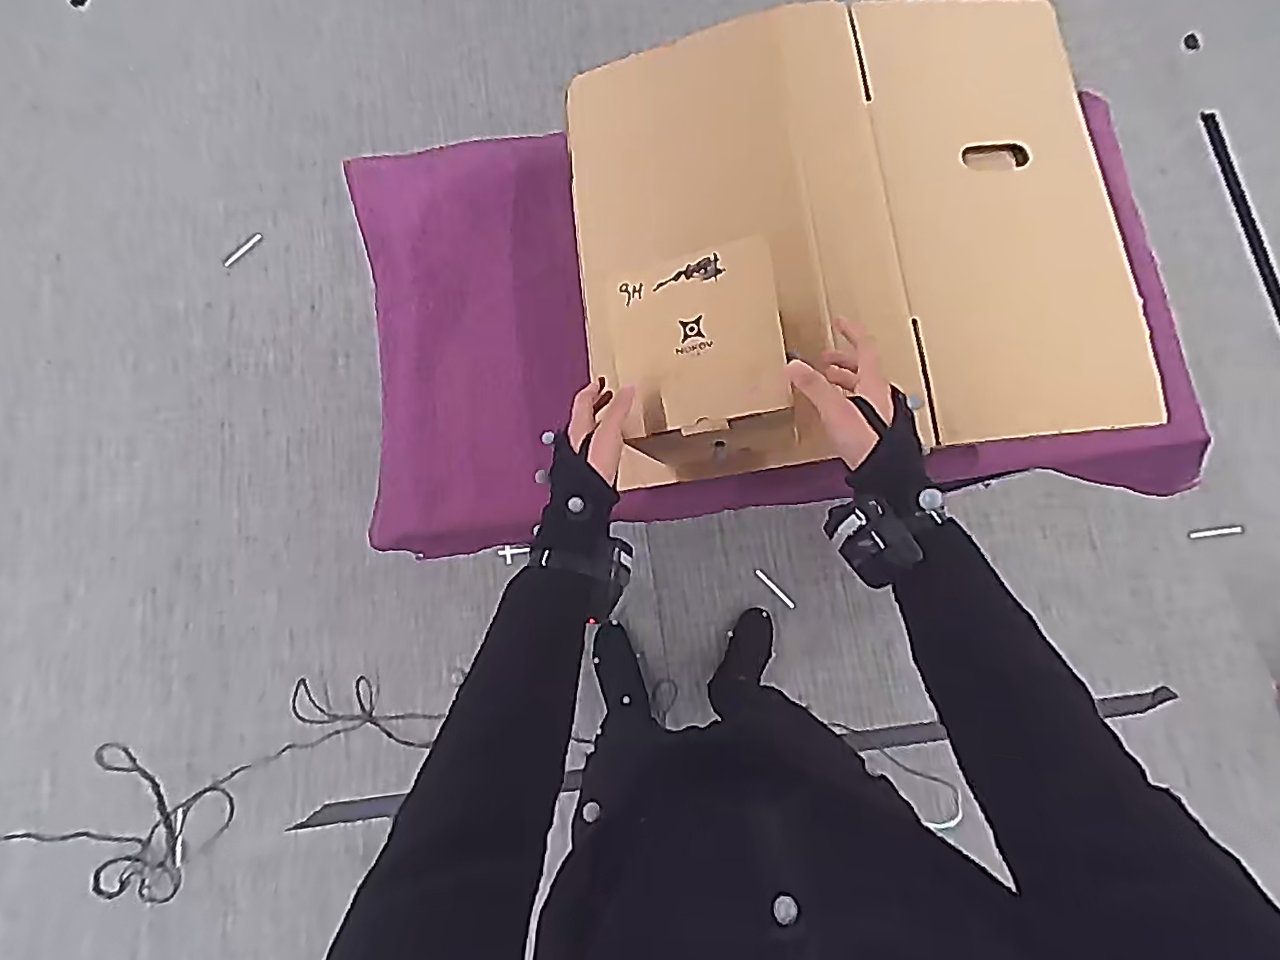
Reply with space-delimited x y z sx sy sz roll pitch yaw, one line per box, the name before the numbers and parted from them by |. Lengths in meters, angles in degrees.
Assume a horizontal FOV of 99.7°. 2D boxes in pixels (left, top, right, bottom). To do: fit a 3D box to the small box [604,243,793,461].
small box | 0.073 -0.121 0.596 0.168 0.176 0.179 -9 81 16
